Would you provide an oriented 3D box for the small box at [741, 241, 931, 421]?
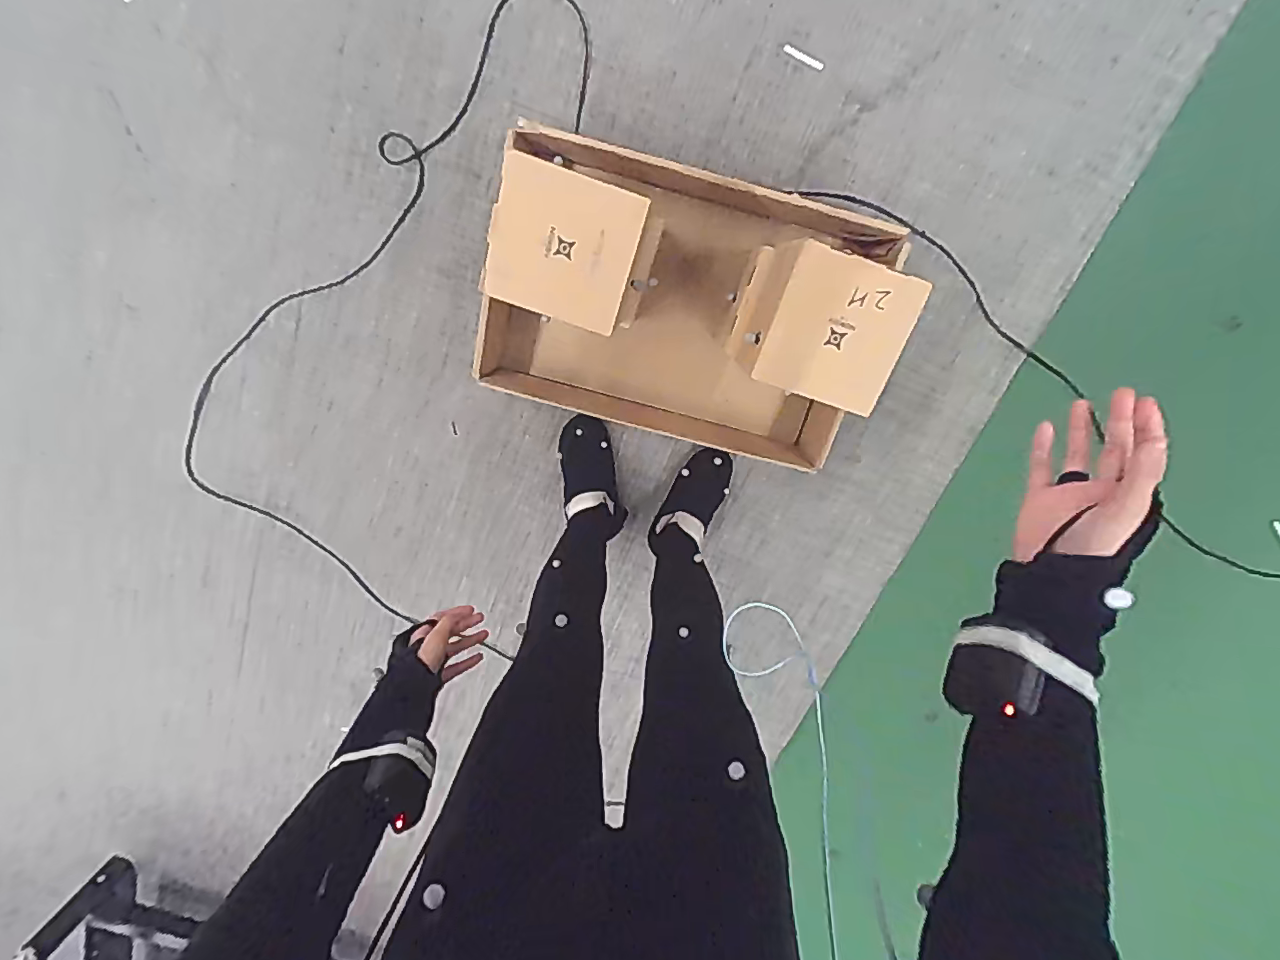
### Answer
[{"bbox_3d":[0.249,-0.205,0.741,0.168,0.176,0.179,19,109,-5],"label":"small box"}]

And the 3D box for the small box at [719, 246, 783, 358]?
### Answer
[{"bbox_3d":[0.242,-0.267,0.894,0.179,0.176,0.168,19,110,-4],"label":"small box"}]

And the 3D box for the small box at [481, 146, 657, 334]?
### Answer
[{"bbox_3d":[-0.085,-0.309,0.720,0.179,0.176,0.168,19,111,-5],"label":"small box"}]
